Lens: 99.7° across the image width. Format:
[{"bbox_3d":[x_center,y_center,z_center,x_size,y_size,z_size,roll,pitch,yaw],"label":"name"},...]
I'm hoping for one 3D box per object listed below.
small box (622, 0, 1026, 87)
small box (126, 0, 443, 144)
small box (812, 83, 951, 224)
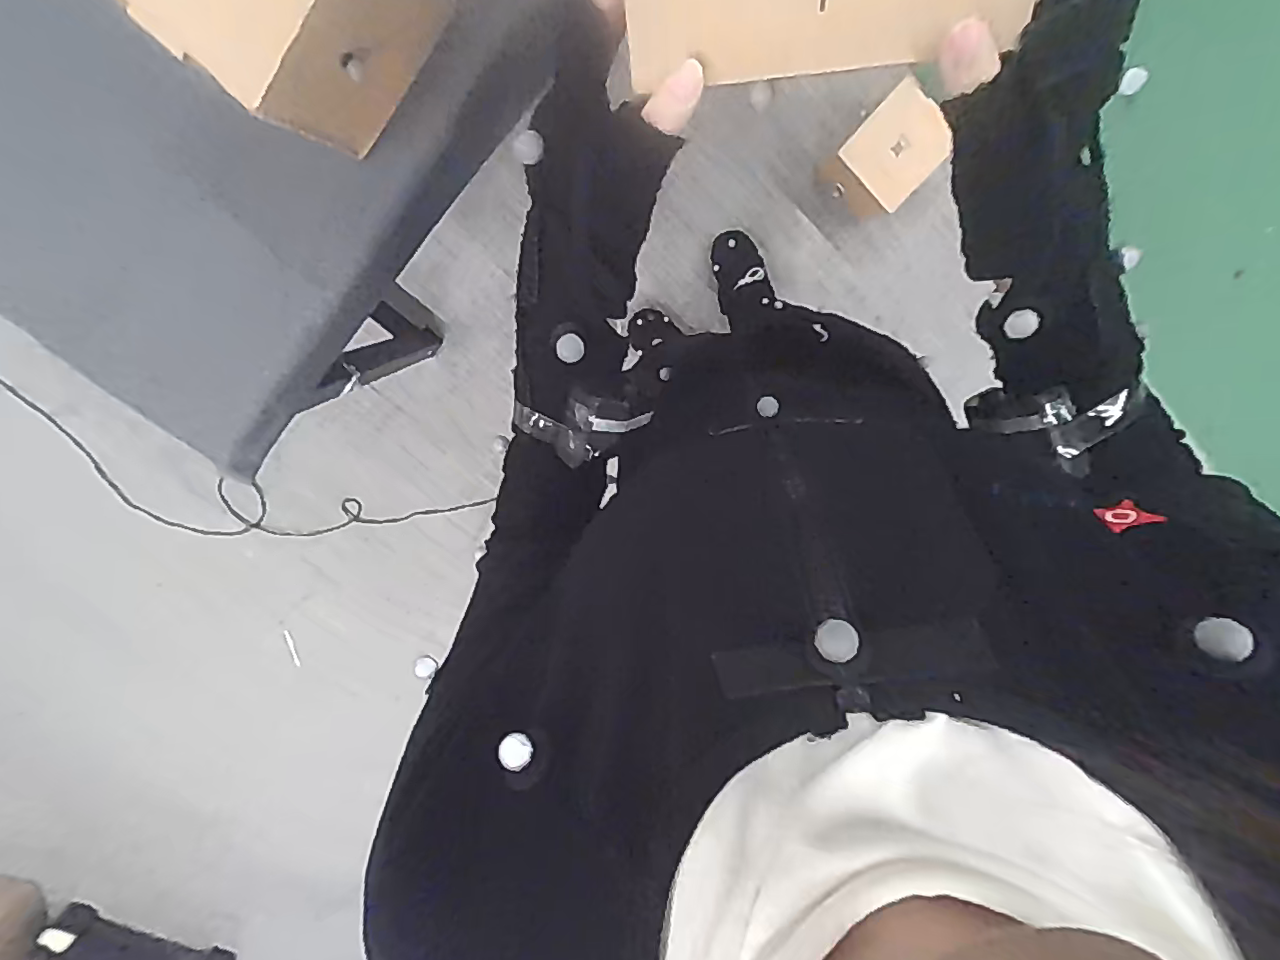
[{"bbox_3d":[0.071,-0.291,0.246,0.168,0.176,0.179,-2,127,3],"label":"small box"},{"bbox_3d":[-0.295,-0.421,0.445,0.168,0.176,0.179,41,106,-13],"label":"small box"},{"bbox_3d":[0.491,-0.665,1.126,0.168,0.176,0.179,41,108,-13],"label":"small box"}]
